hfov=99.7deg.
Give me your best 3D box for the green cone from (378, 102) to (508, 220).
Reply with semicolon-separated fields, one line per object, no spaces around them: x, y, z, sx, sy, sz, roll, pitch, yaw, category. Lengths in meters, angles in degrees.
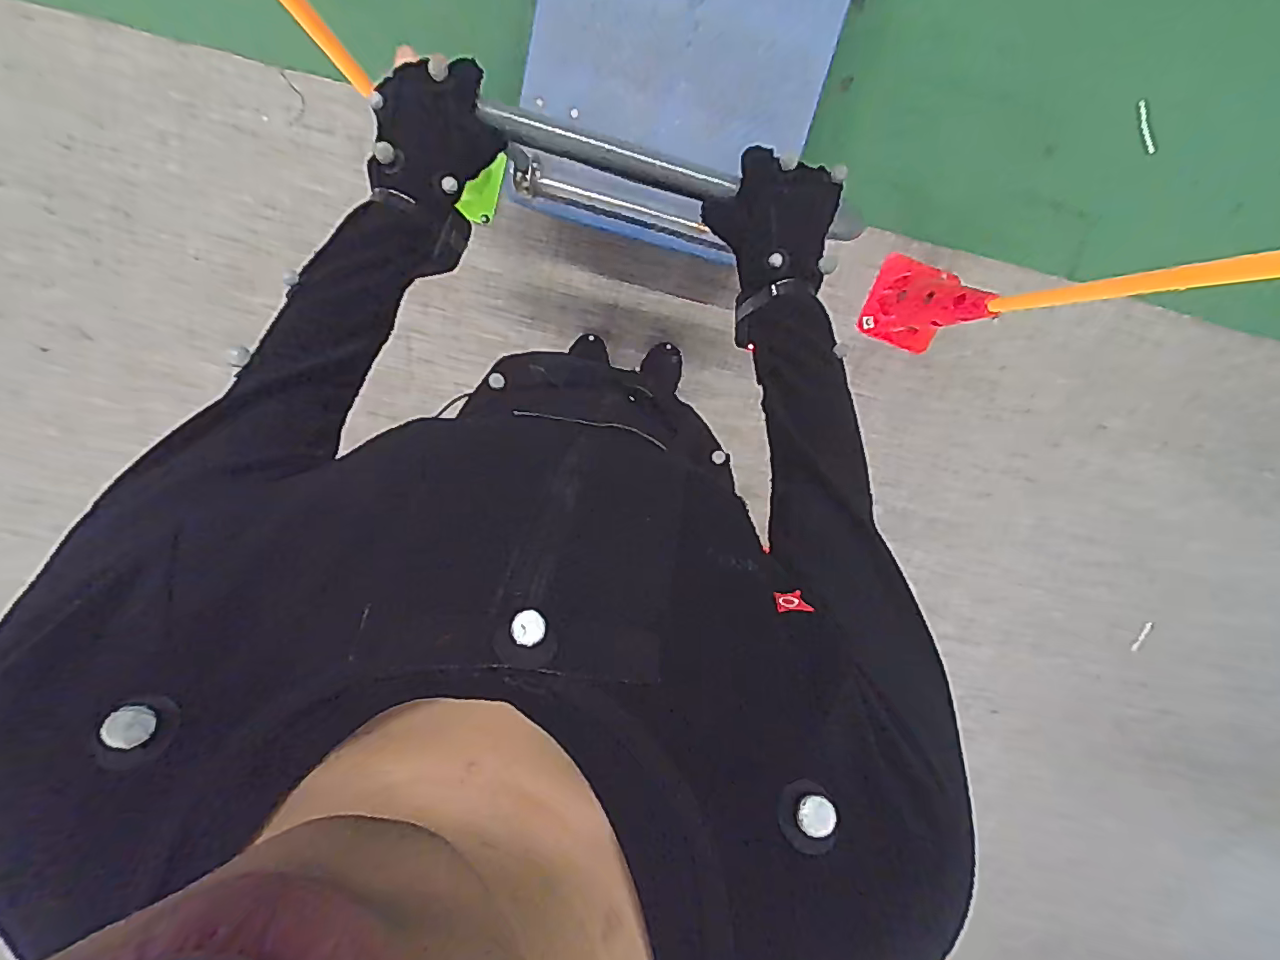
-0.426;-0.687;1.103;0.202;0.368;0.200;18;107;-5;green cone
